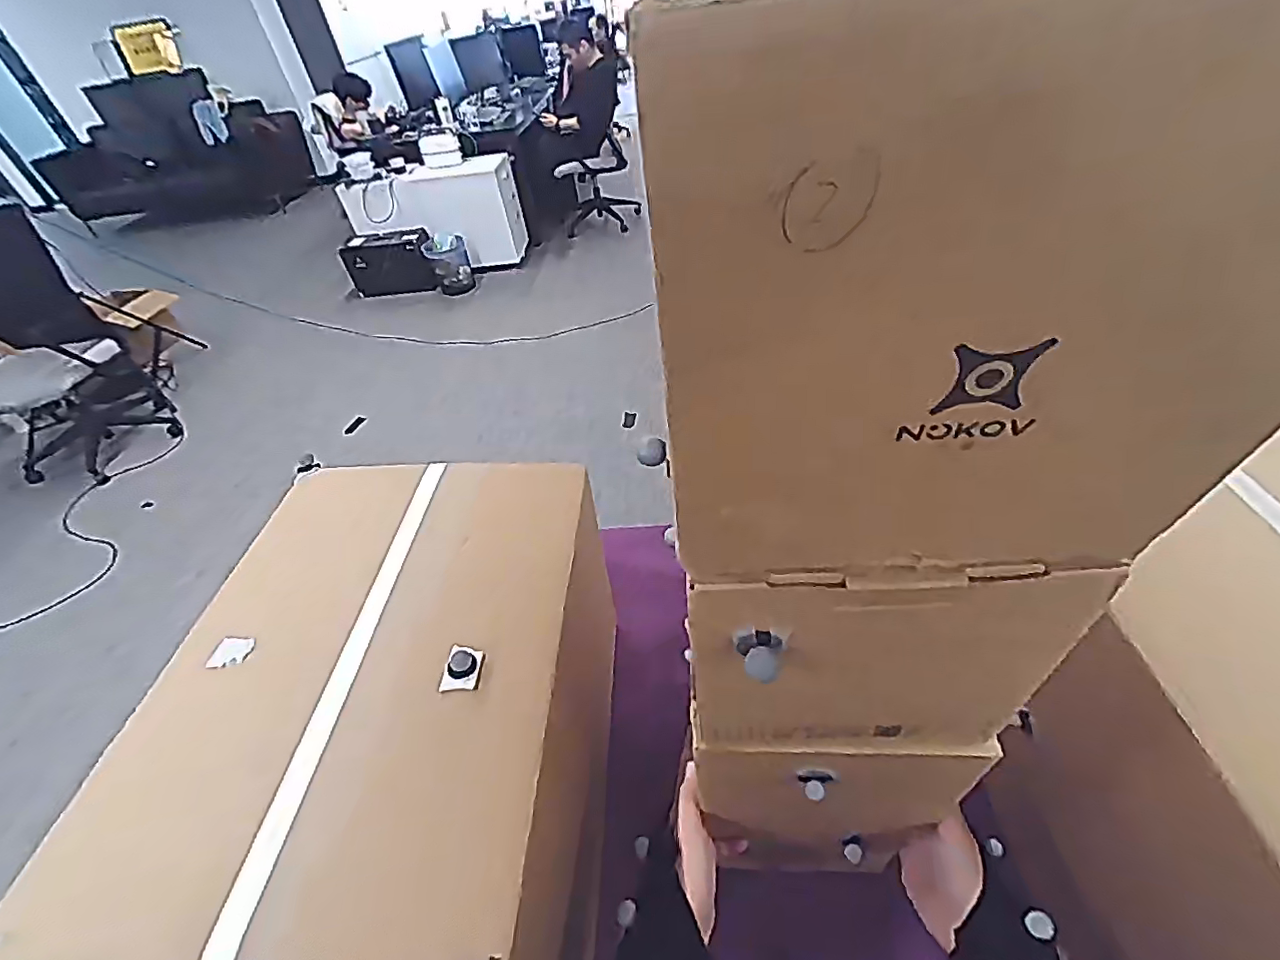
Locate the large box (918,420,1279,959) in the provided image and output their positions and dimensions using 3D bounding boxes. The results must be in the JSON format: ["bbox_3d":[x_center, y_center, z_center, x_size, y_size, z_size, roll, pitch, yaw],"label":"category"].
[{"bbox_3d":[0.494,0.198,0.464,0.320,0.320,0.408,-3,42,5],"label":"large box"}]
